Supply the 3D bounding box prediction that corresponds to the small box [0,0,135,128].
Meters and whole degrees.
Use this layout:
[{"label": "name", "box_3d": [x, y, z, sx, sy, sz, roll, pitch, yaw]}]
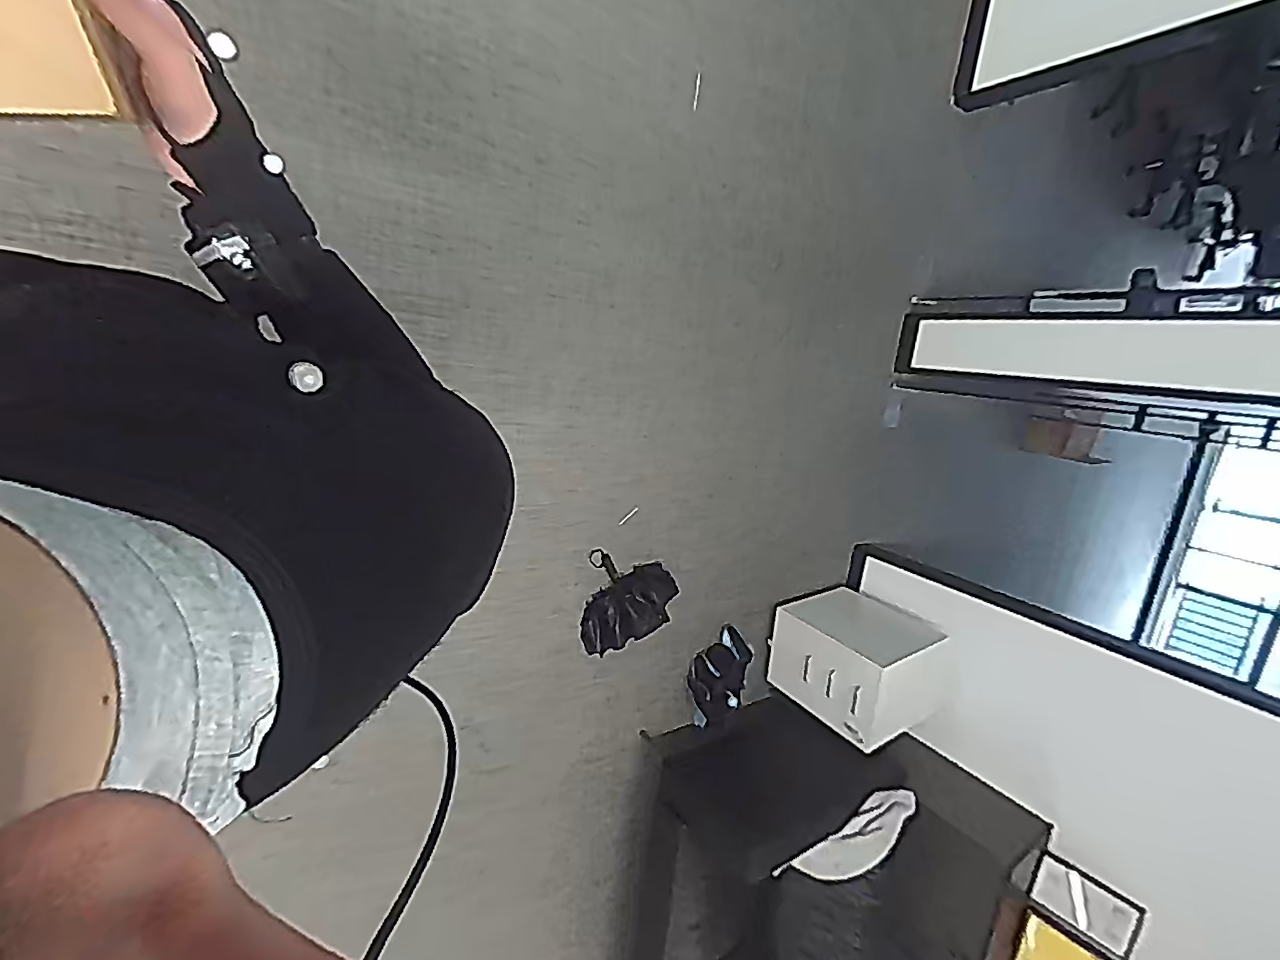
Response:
[{"label": "small box", "box_3d": [-0.372, -0.266, 0.243, 0.168, 0.176, 0.179, -20, 129, -29]}]
